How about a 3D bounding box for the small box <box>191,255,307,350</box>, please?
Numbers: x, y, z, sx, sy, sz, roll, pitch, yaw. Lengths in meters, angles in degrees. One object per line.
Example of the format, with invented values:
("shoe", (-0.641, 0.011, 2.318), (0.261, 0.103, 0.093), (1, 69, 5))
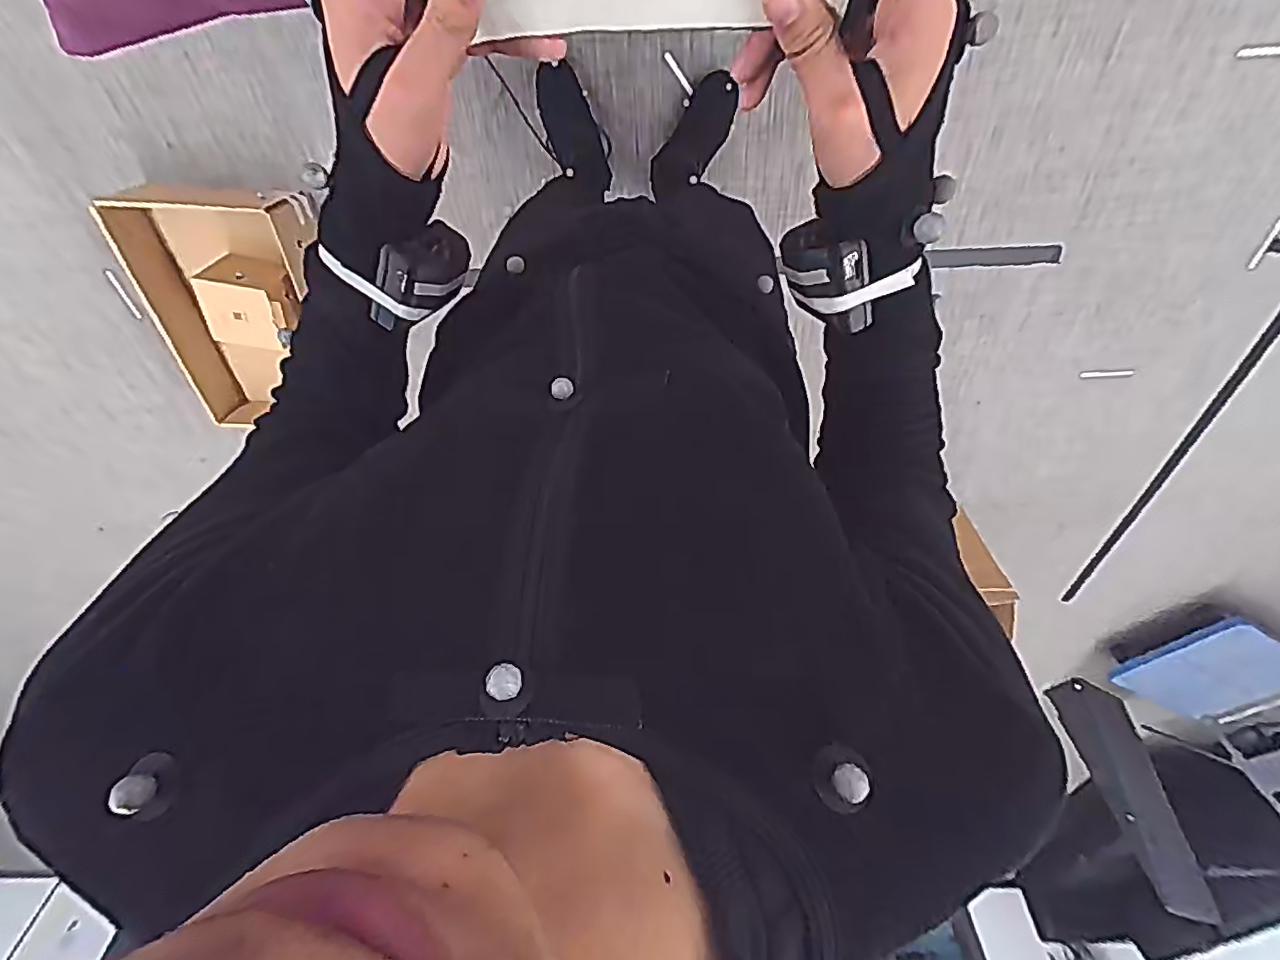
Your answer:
("small box", (-0.993, -0.462, 1.397), (0.179, 0.176, 0.168), (8, 132, -7))
